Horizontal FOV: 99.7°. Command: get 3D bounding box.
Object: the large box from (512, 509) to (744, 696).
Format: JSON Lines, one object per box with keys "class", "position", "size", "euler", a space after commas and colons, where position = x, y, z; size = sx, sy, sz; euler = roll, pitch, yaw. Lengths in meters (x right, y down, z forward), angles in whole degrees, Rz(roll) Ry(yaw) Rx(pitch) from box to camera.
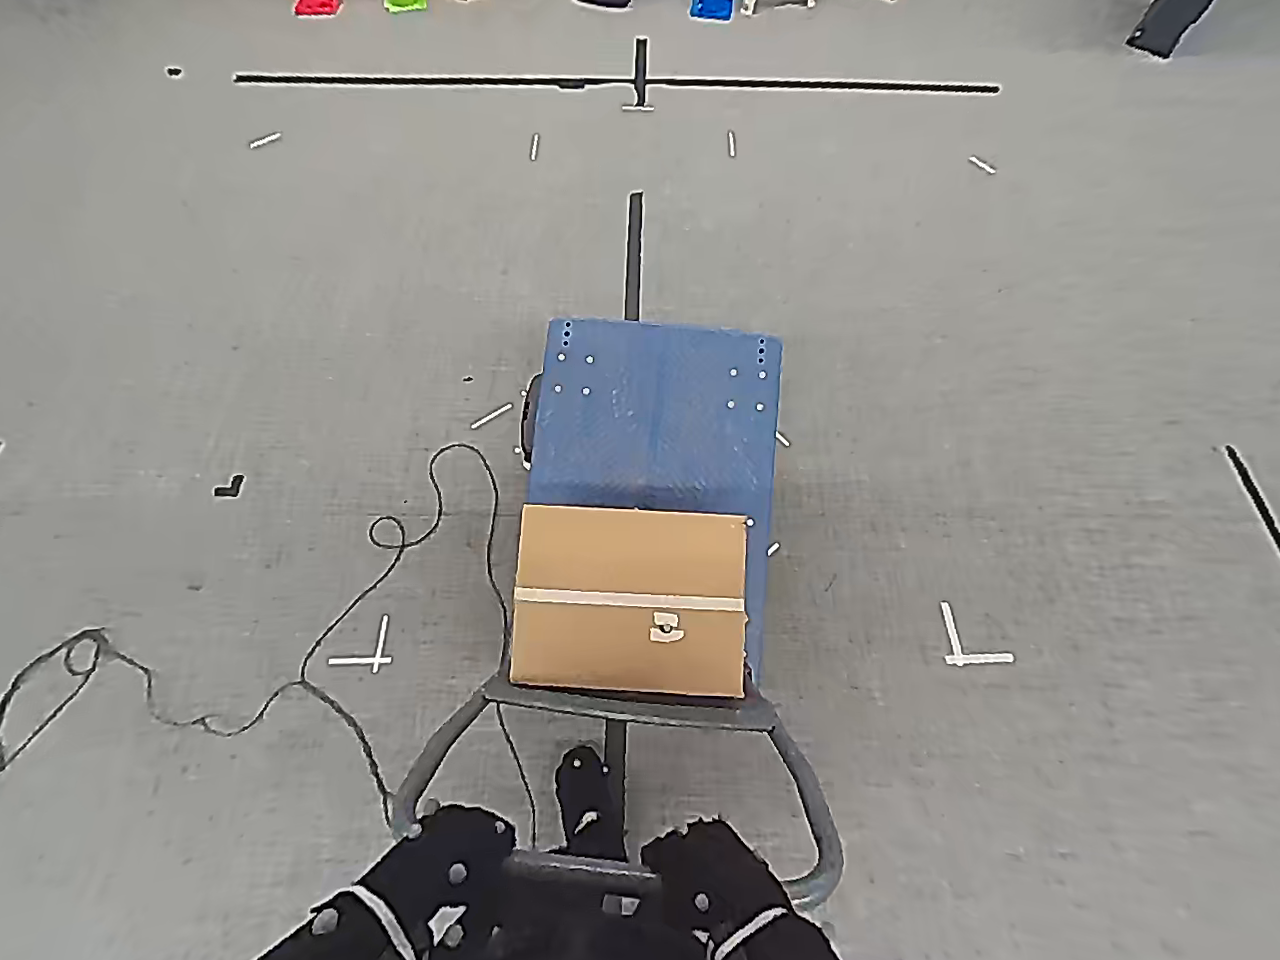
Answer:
{"class": "large box", "position": [-0.021, 0.232, 1.093], "size": [0.408, 0.320, 0.320], "euler": [3, 83, 0]}
